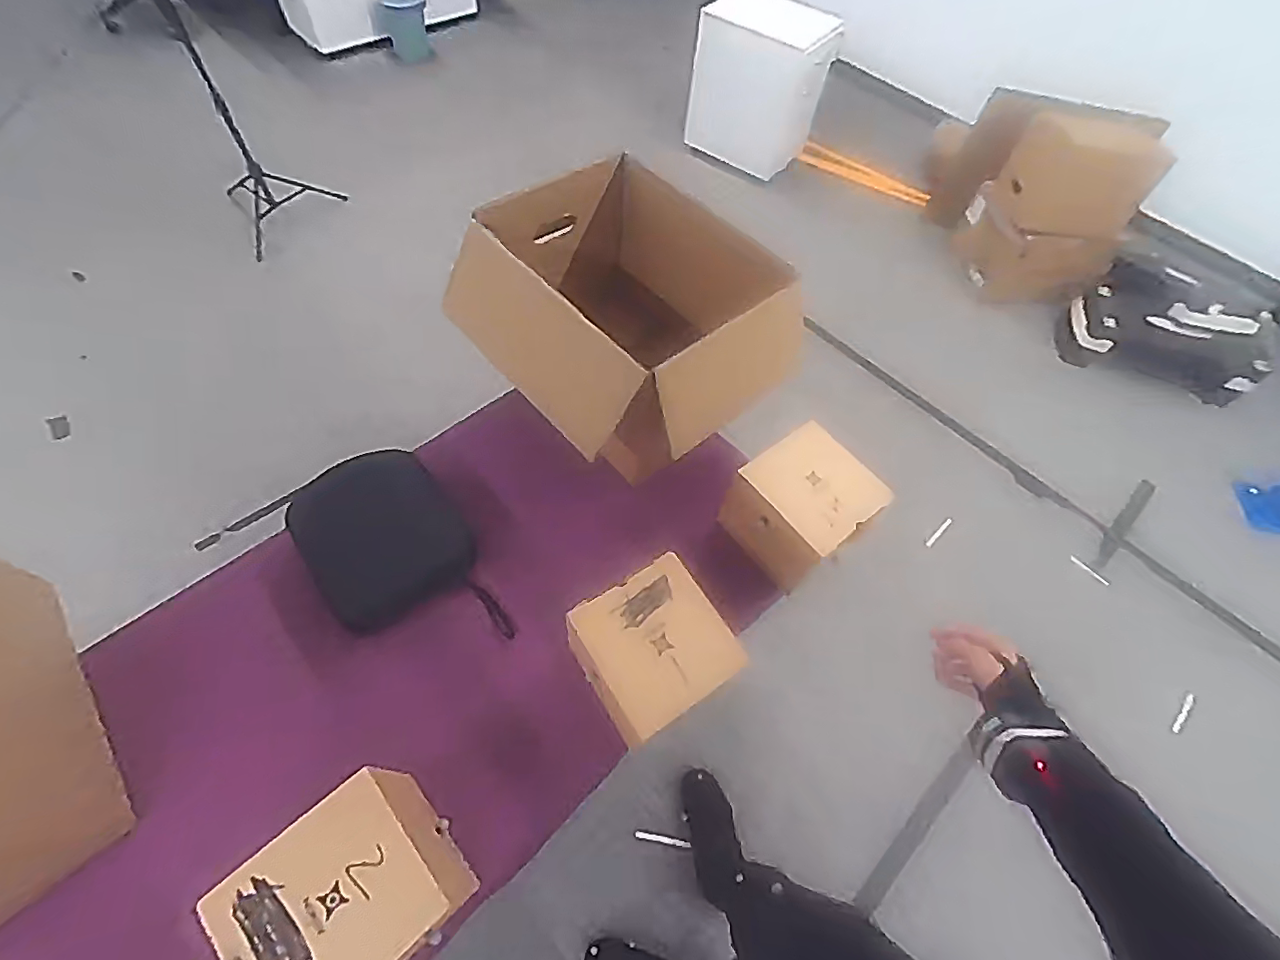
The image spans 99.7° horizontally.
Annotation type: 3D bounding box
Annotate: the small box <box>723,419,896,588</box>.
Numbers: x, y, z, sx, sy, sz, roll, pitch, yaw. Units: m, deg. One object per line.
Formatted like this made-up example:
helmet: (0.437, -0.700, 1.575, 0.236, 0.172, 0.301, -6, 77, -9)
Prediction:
small box: (0.255, 0.042, 0.862, 0.168, 0.176, 0.179, -33, 67, -20)
